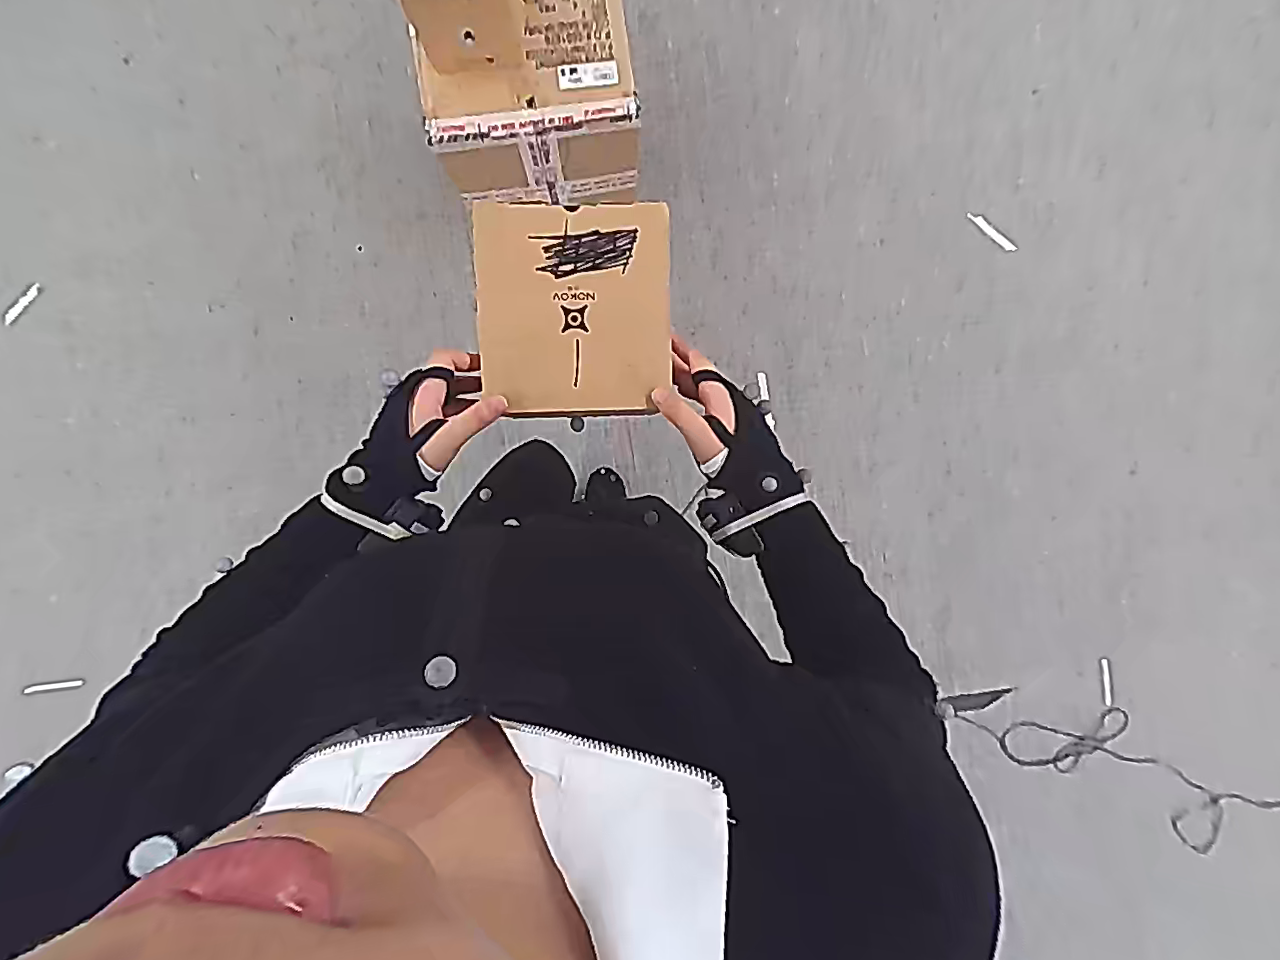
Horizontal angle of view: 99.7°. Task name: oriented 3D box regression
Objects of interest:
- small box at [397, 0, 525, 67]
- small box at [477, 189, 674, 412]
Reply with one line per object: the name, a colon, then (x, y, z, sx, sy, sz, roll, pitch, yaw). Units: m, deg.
small box: (-0.288, -0.807, 0.875, 0.168, 0.176, 0.179, -5, 95, -1)
small box: (-0.060, -0.160, 0.535, 0.168, 0.176, 0.179, -2, 96, -4)
